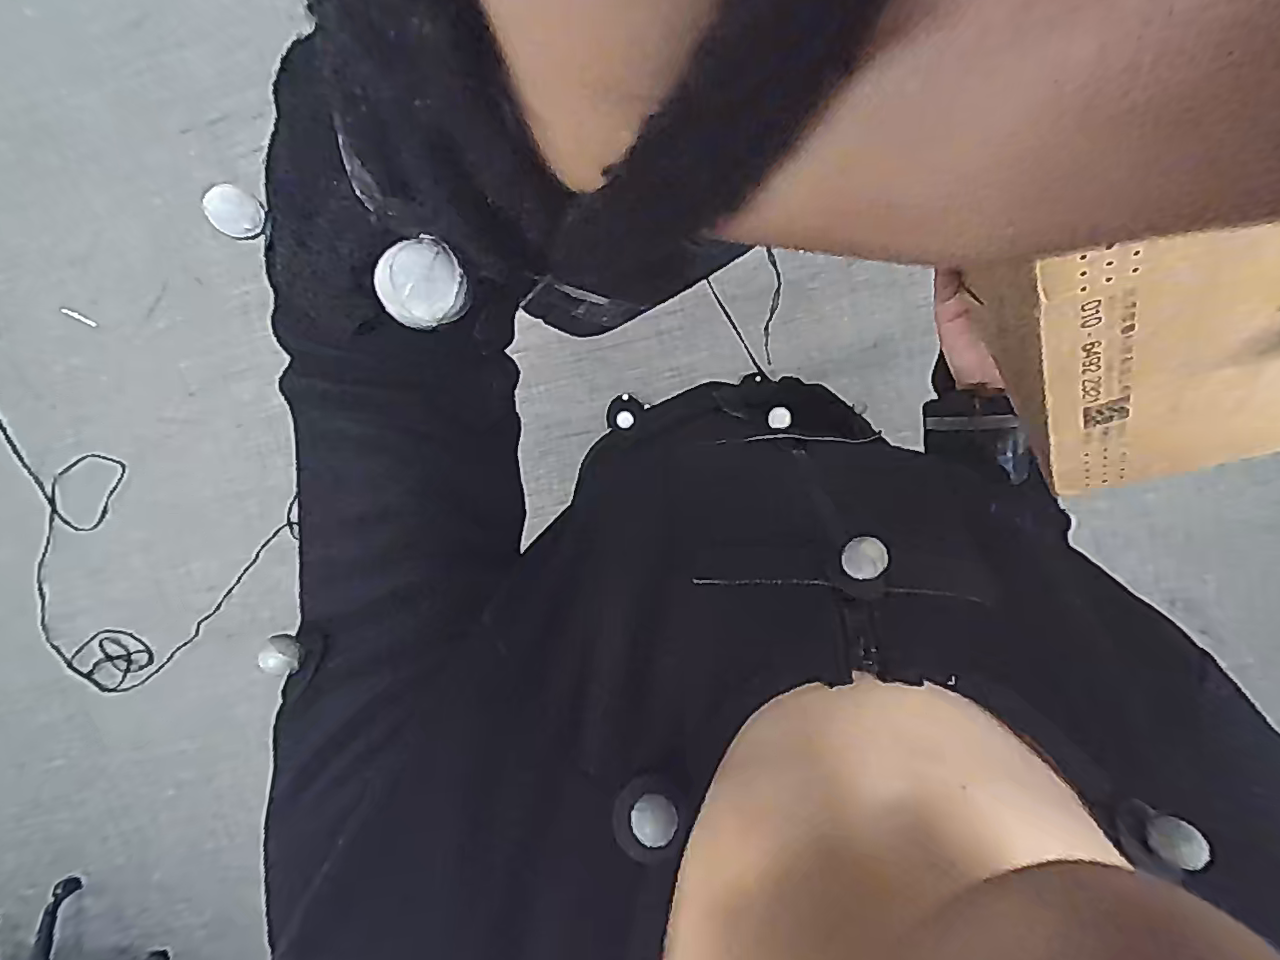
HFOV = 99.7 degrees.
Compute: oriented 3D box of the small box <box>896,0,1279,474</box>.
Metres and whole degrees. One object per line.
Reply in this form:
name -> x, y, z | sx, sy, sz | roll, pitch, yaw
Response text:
small box -> 0.228, -0.126, 0.229 | 0.176, 0.179, 0.168 | -18, 139, 29
